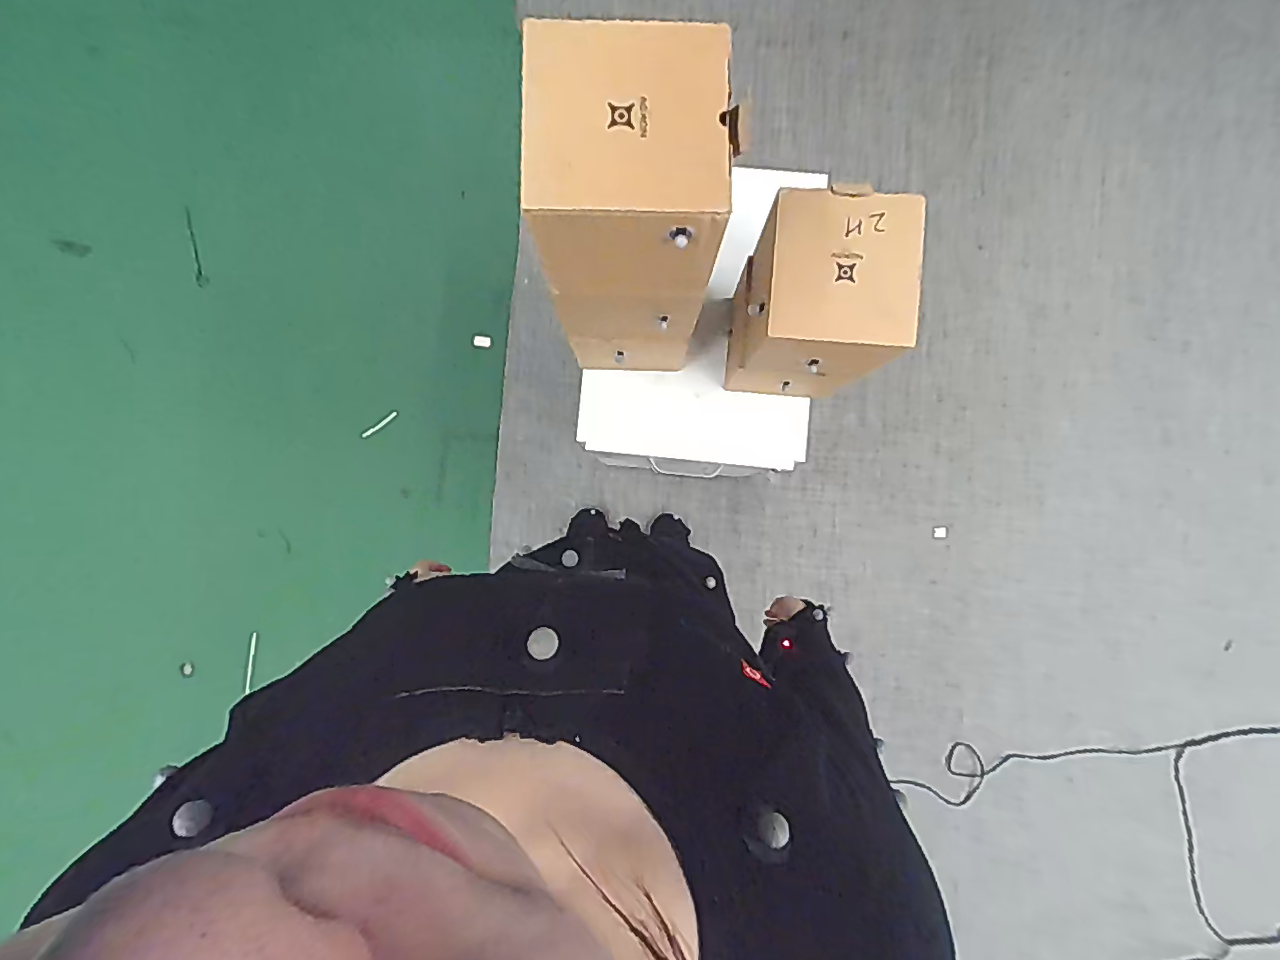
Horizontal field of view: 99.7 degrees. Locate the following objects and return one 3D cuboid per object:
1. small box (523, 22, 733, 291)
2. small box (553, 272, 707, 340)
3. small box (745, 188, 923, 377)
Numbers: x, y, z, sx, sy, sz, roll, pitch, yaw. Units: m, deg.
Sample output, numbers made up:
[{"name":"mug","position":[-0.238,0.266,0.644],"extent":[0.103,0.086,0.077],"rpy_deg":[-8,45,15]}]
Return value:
[{"name":"small box","position":[-0.010,-0.296,0.530],"extent":[0.179,0.176,0.168],"rpy_deg":[0,87,-2]},{"name":"small box","position":[-0.013,-0.286,0.692],"extent":[0.179,0.176,0.168],"rpy_deg":[0,87,-1]},{"name":"small box","position":[0.232,-0.236,0.688],"extent":[0.168,0.176,0.179],"rpy_deg":[5,88,1]}]
